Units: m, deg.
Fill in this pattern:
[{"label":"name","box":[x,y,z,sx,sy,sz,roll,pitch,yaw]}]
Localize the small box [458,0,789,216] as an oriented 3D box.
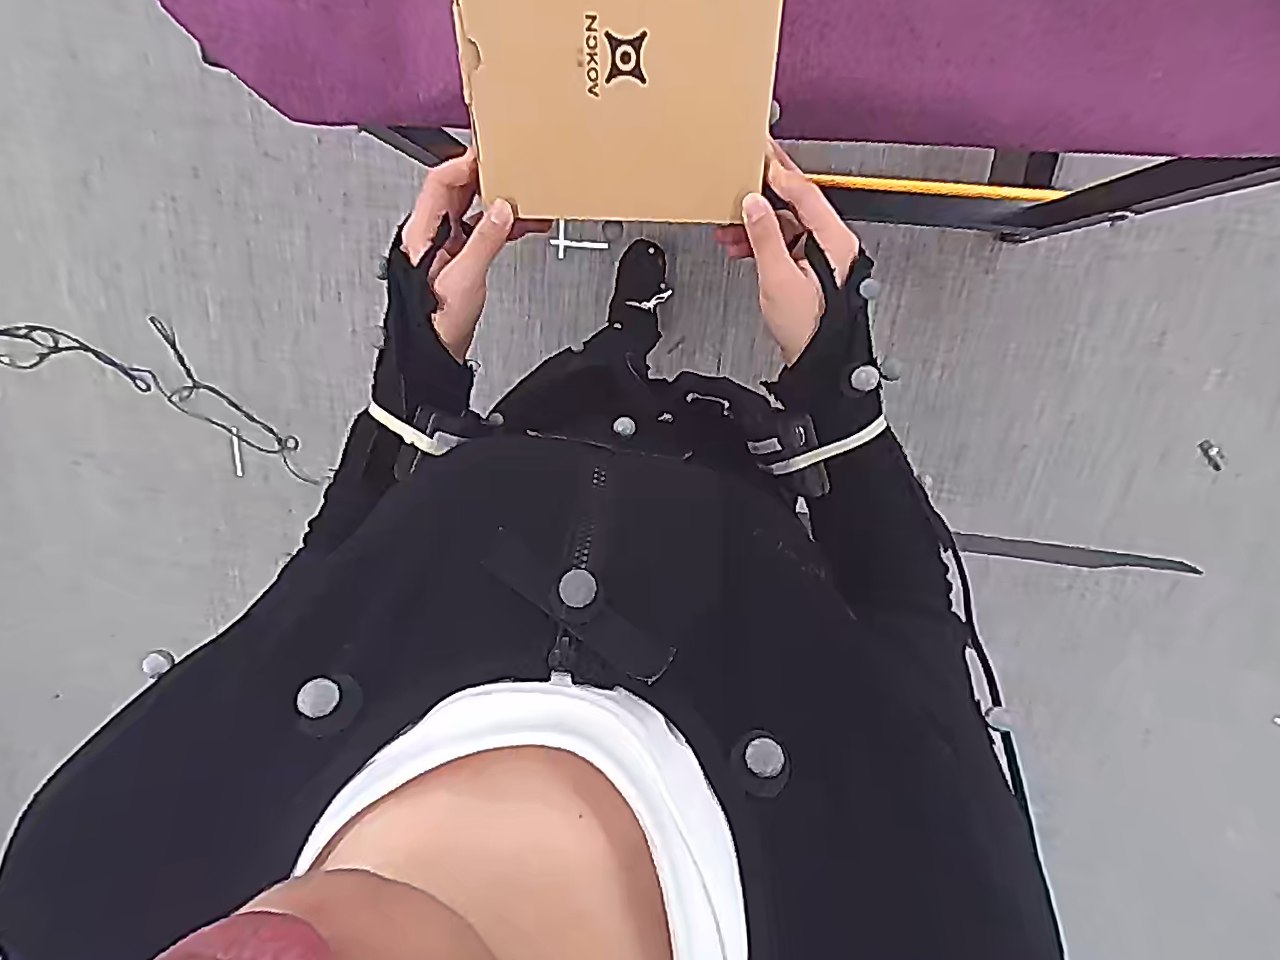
[{"label":"small box","box":[-0.006,-0.277,0.359,0.179,0.176,0.168,3,122,3]}]
